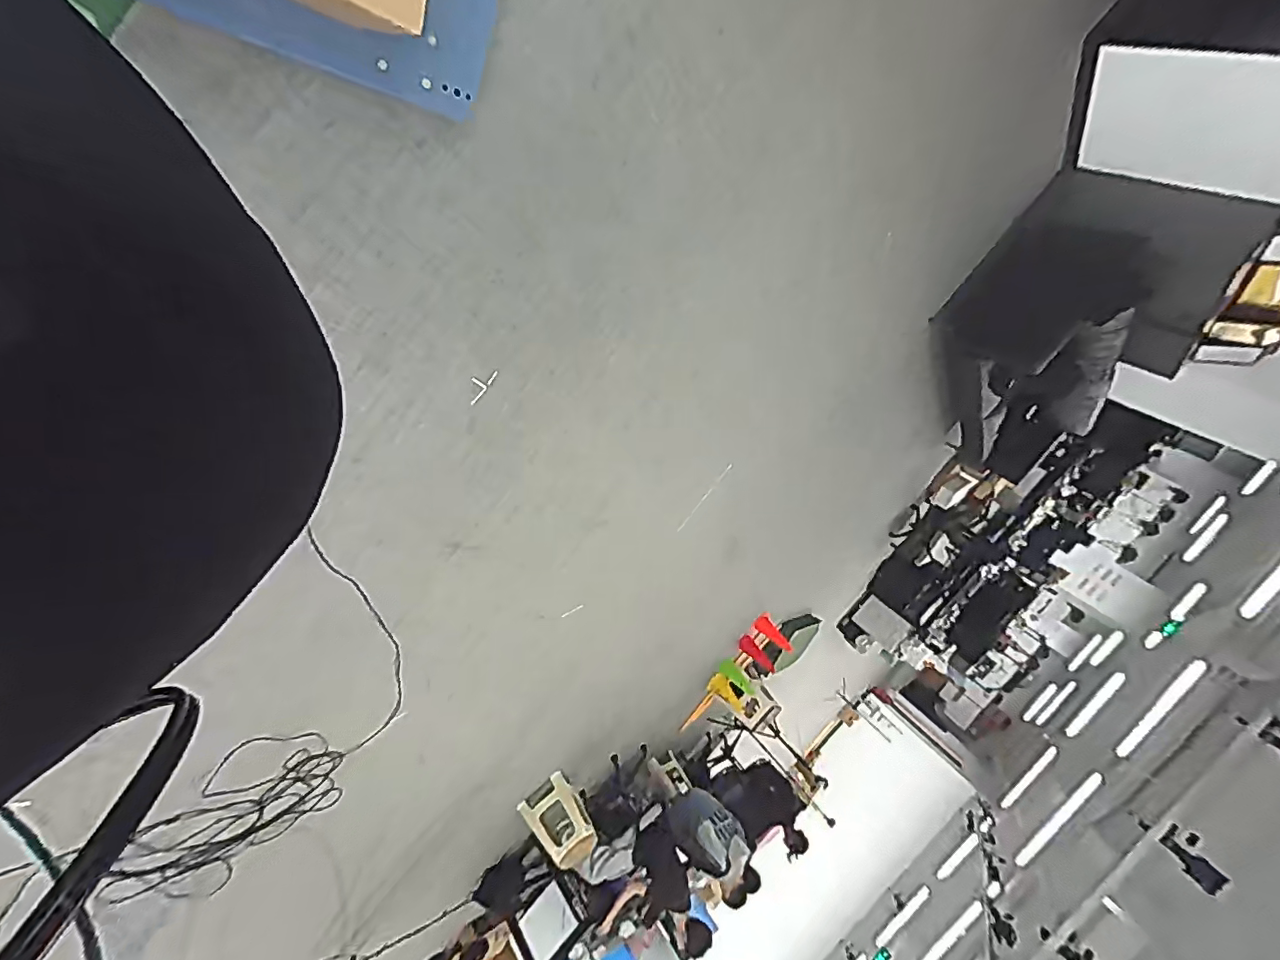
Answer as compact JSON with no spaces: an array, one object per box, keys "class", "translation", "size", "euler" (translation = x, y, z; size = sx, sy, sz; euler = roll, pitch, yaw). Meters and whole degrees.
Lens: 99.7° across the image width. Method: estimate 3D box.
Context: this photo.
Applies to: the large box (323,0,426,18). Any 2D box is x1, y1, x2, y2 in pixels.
[{"class":"large box","translation":[-0.445,-0.875,0.659],"size":[0.320,0.320,0.408],"euler":[-5,125,-43]}]
